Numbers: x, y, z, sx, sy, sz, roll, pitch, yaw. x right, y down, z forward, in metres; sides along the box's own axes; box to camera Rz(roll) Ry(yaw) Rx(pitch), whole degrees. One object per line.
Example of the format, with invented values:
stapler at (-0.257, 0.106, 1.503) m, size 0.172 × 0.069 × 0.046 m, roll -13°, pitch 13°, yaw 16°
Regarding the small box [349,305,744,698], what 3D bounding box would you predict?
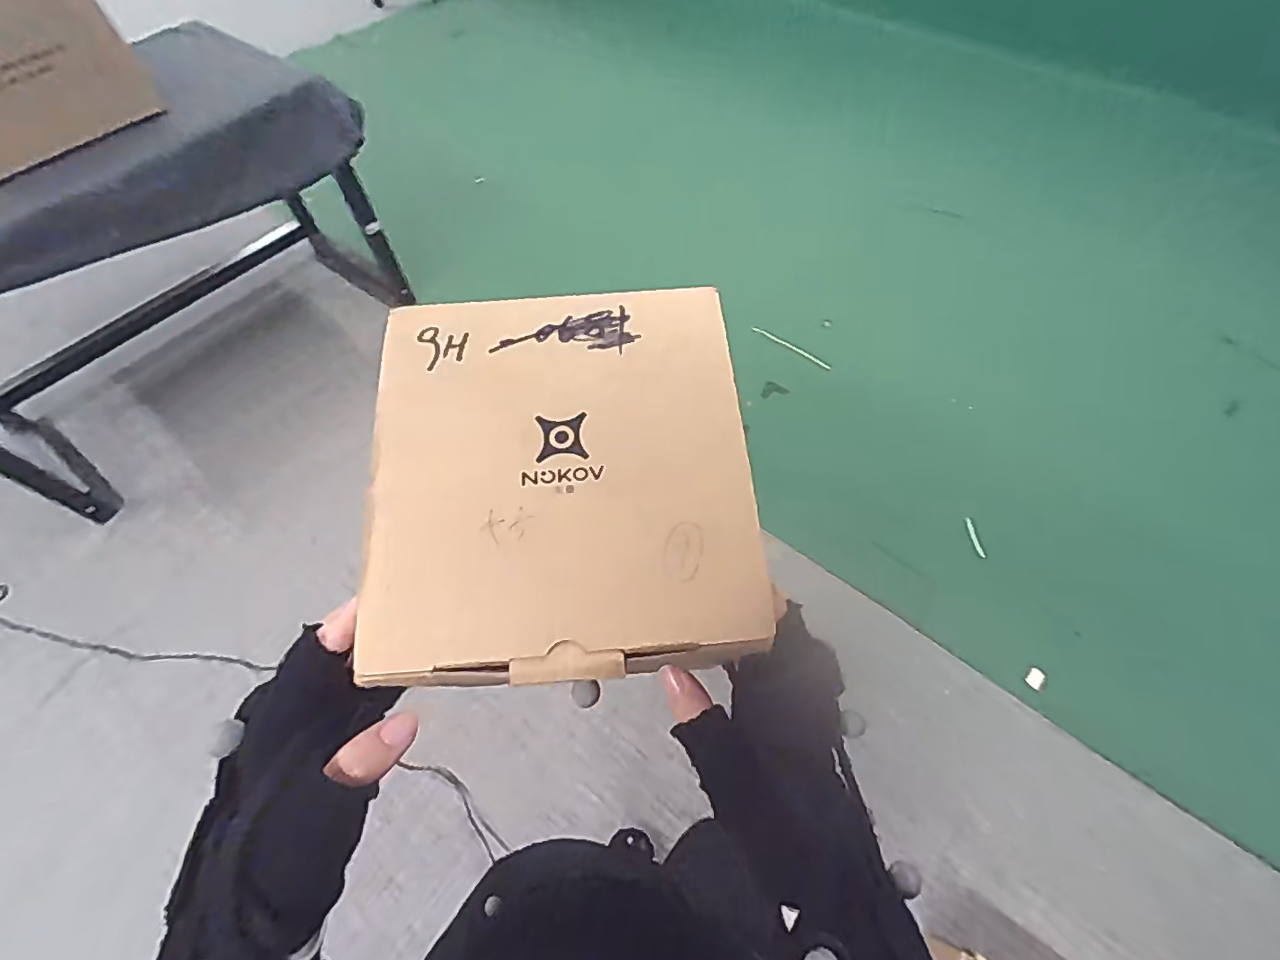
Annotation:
small box at (-0.043, 0.025, 0.321) m, size 0.168 × 0.176 × 0.179 m, roll -5°, pitch 70°, yaw -2°
